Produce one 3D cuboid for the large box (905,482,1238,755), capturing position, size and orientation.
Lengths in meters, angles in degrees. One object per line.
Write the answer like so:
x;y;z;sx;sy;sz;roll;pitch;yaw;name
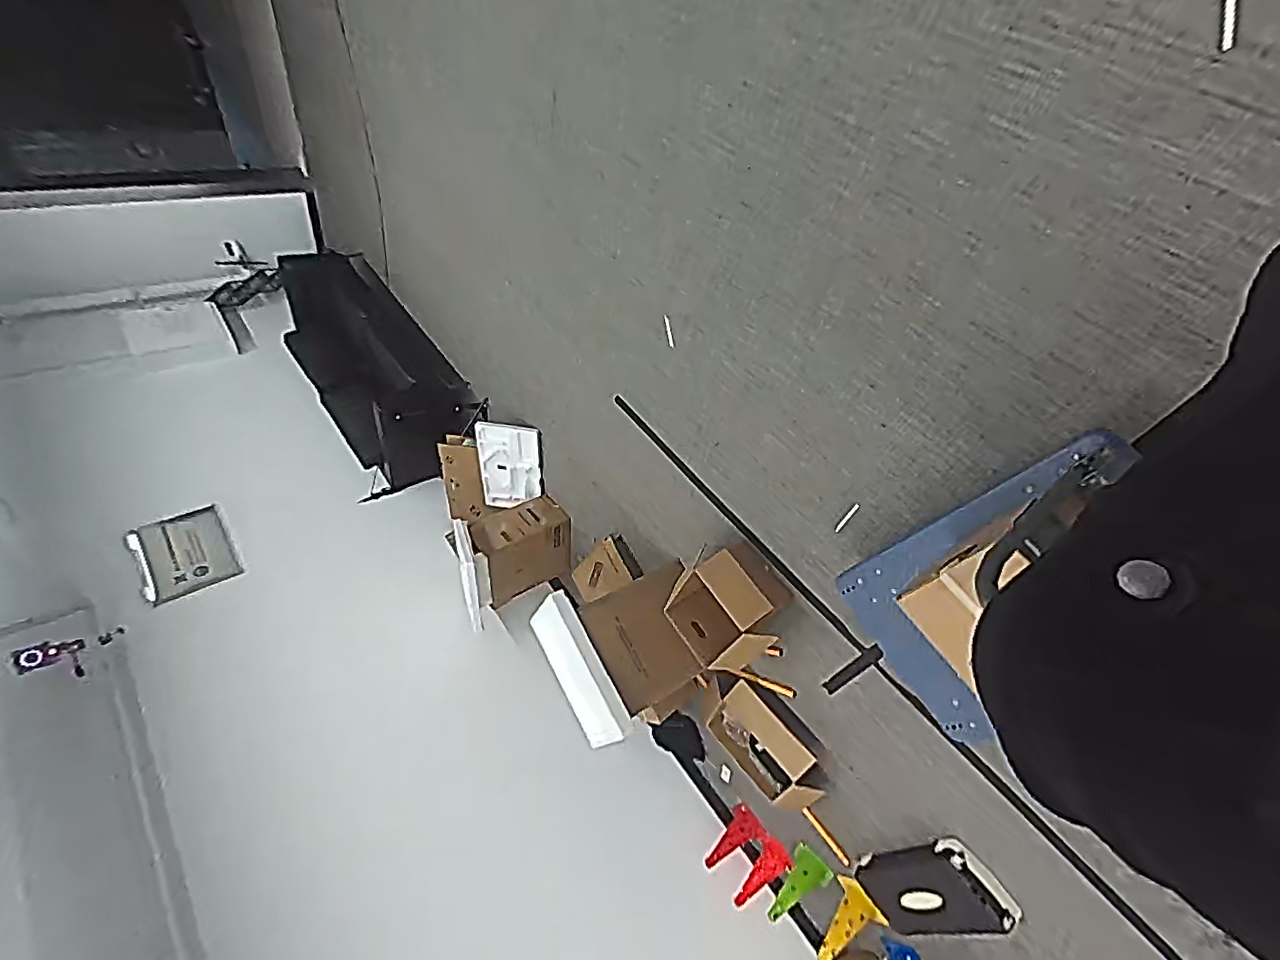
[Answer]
0.875;0.281;1.132;0.408;0.320;0.320;54;145;20;large box
